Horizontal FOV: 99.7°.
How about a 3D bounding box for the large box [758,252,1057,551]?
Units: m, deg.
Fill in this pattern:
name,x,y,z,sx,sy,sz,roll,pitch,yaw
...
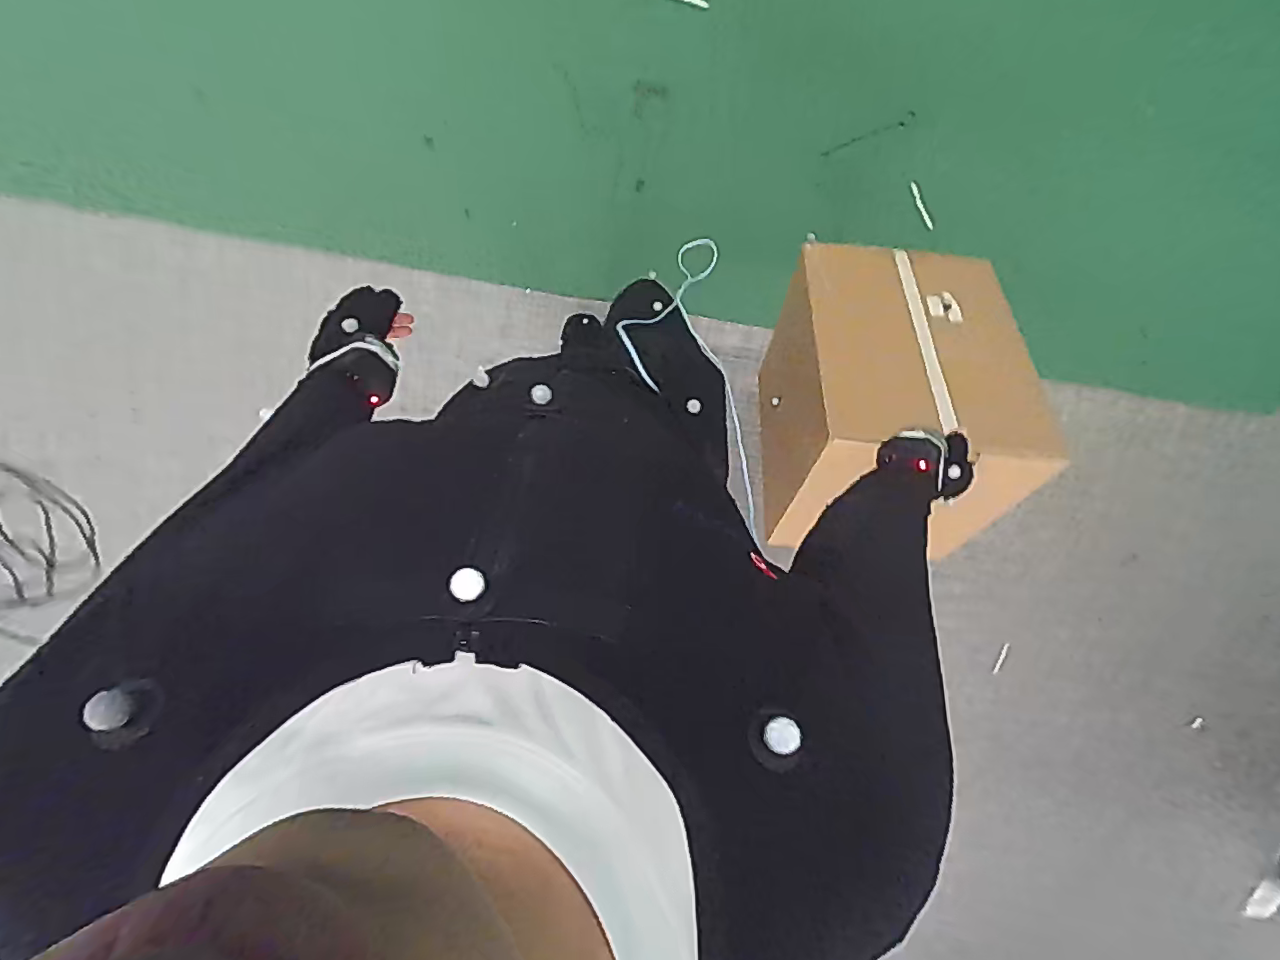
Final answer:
name,x,y,z,sx,sy,sz,roll,pitch,yaw
large box,0.397,-0.126,0.932,0.320,0.408,0.320,6,147,-1
